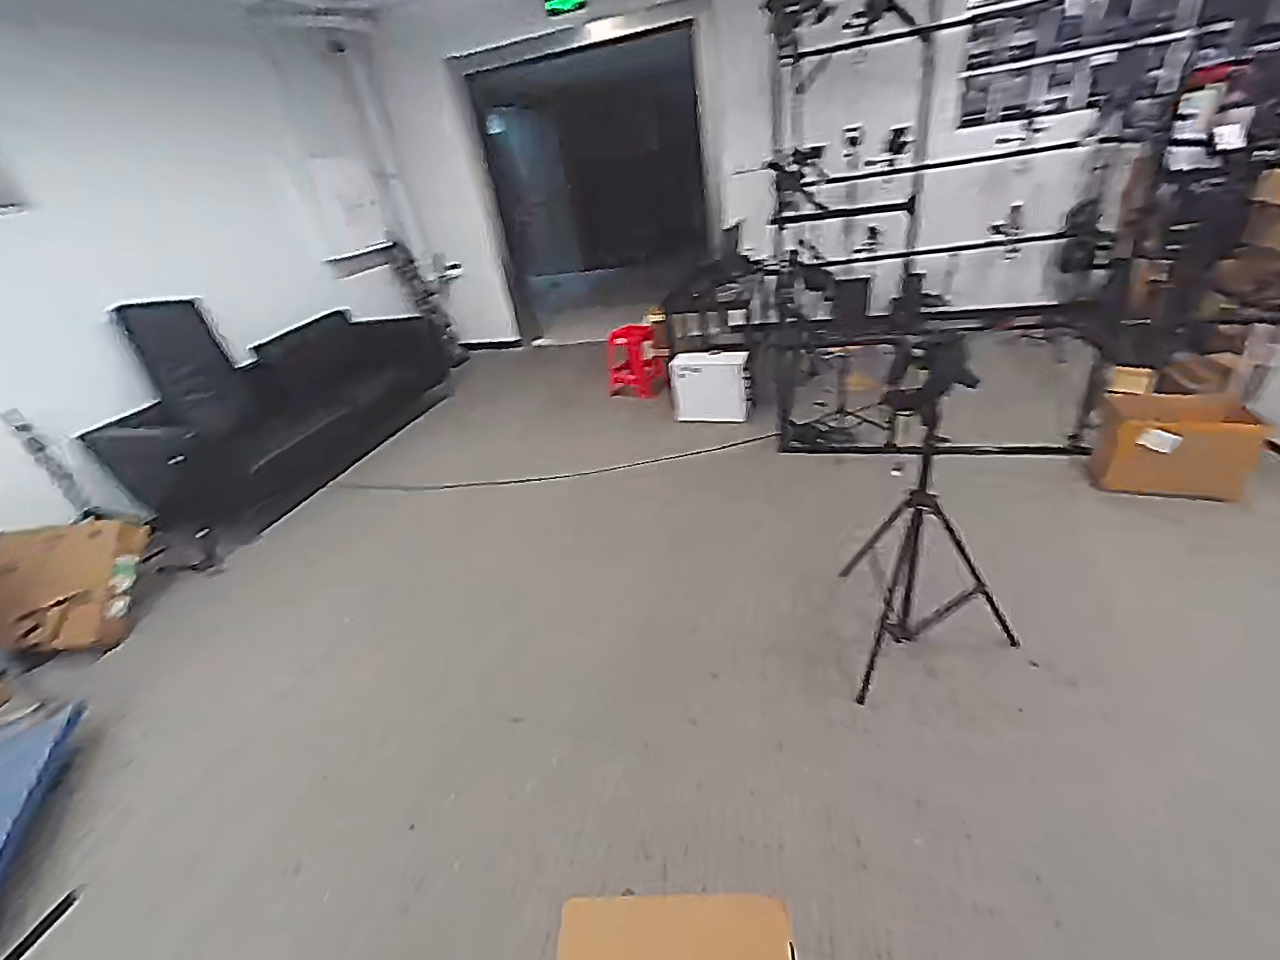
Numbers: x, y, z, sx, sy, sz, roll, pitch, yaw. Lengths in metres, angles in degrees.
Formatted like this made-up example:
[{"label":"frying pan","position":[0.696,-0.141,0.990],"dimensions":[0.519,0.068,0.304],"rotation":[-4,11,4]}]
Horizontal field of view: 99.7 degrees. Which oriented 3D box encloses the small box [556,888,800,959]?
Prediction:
[{"label":"small box","position":[0.037,0.426,0.390],"dimensions":[0.179,0.176,0.168],"rotation":[-7,35,5]}]
